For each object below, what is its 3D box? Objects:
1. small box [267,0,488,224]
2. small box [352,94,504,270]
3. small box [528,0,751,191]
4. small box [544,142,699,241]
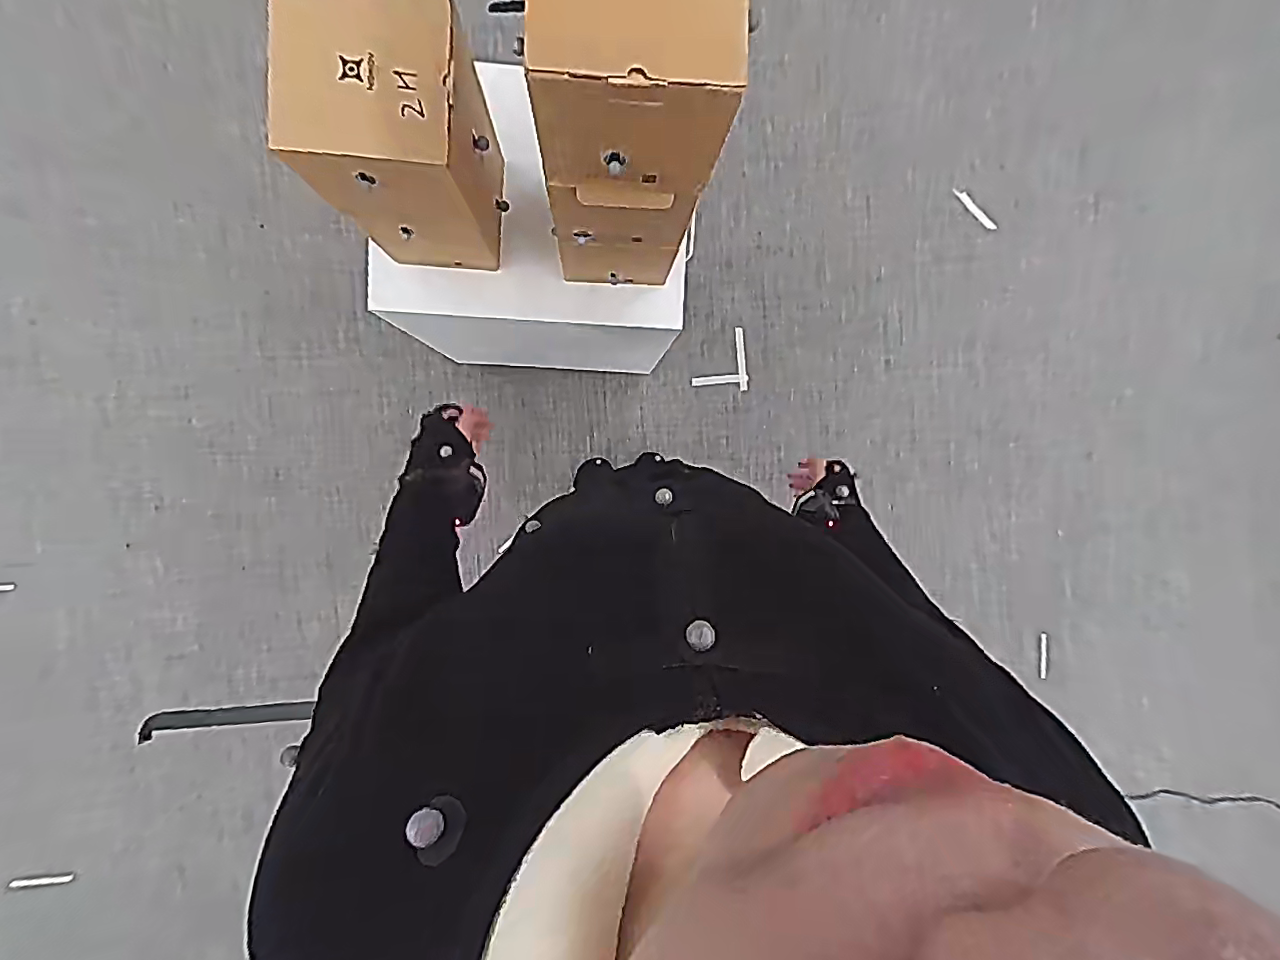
[{"bbox_3d":[-0.280,-0.407,0.609,0.179,0.176,0.168,3,95,-5],"label":"small box"},{"bbox_3d":[-0.292,-0.422,0.773,0.168,0.176,0.179,3,93,-4],"label":"small box"},{"bbox_3d":[-0.005,-0.384,0.471,0.168,0.176,0.179,1,94,-5],"label":"small box"},{"bbox_3d":[-0.020,-0.397,0.632,0.168,0.176,0.179,1,93,-4],"label":"small box"}]
